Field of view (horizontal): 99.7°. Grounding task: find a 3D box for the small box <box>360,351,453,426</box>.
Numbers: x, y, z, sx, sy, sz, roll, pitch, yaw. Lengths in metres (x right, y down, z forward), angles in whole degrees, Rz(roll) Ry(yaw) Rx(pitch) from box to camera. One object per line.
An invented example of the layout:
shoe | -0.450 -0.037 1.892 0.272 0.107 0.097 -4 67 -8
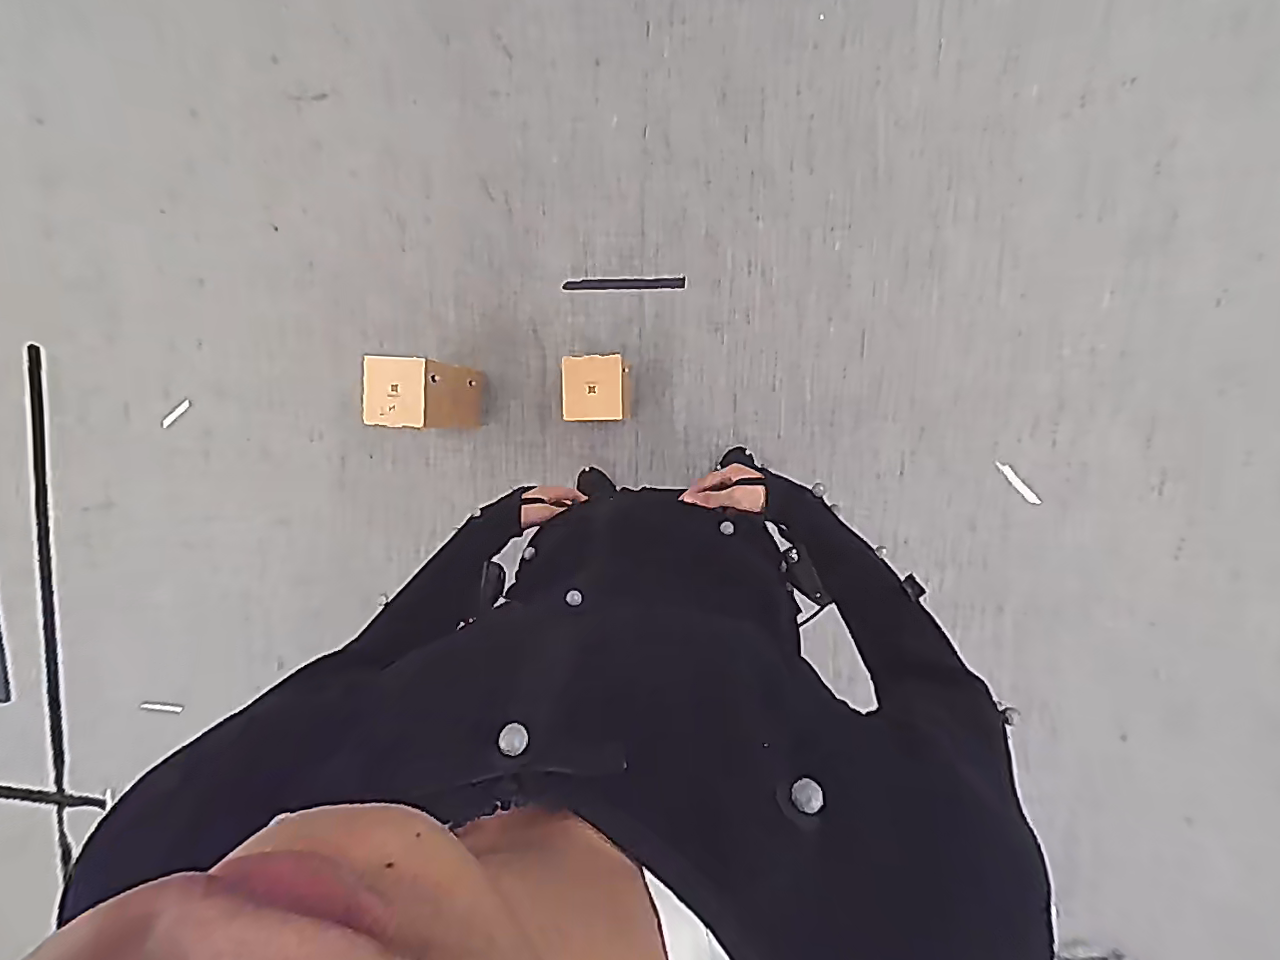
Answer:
small box | -0.605 -0.235 1.418 0.168 0.176 0.179 4 96 7

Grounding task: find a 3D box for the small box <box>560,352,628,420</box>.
small box | -0.125 -0.259 1.530 0.168 0.176 0.179 -1 94 6

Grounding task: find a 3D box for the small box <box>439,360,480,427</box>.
small box | -0.579 -0.251 1.580 0.168 0.176 0.179 5 95 7
